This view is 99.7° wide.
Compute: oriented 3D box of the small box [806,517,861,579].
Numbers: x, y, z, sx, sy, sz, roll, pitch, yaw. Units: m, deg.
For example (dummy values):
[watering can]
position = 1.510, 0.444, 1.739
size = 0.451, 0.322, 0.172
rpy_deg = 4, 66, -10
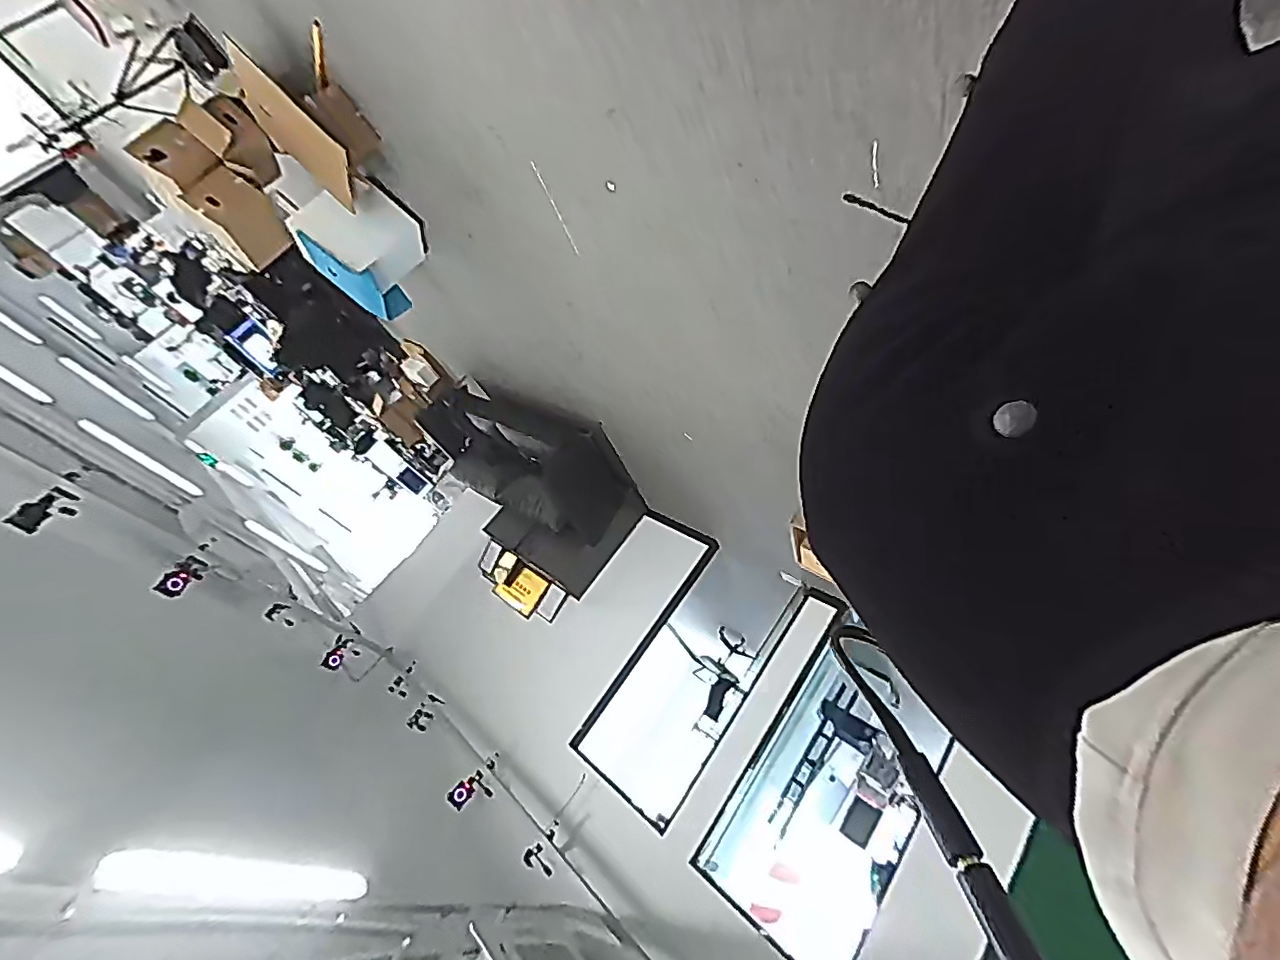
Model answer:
[small box]
position = 0.843, 0.293, 2.349
size = 0.168, 0.176, 0.179
rpy_deg = 27, 157, 34
